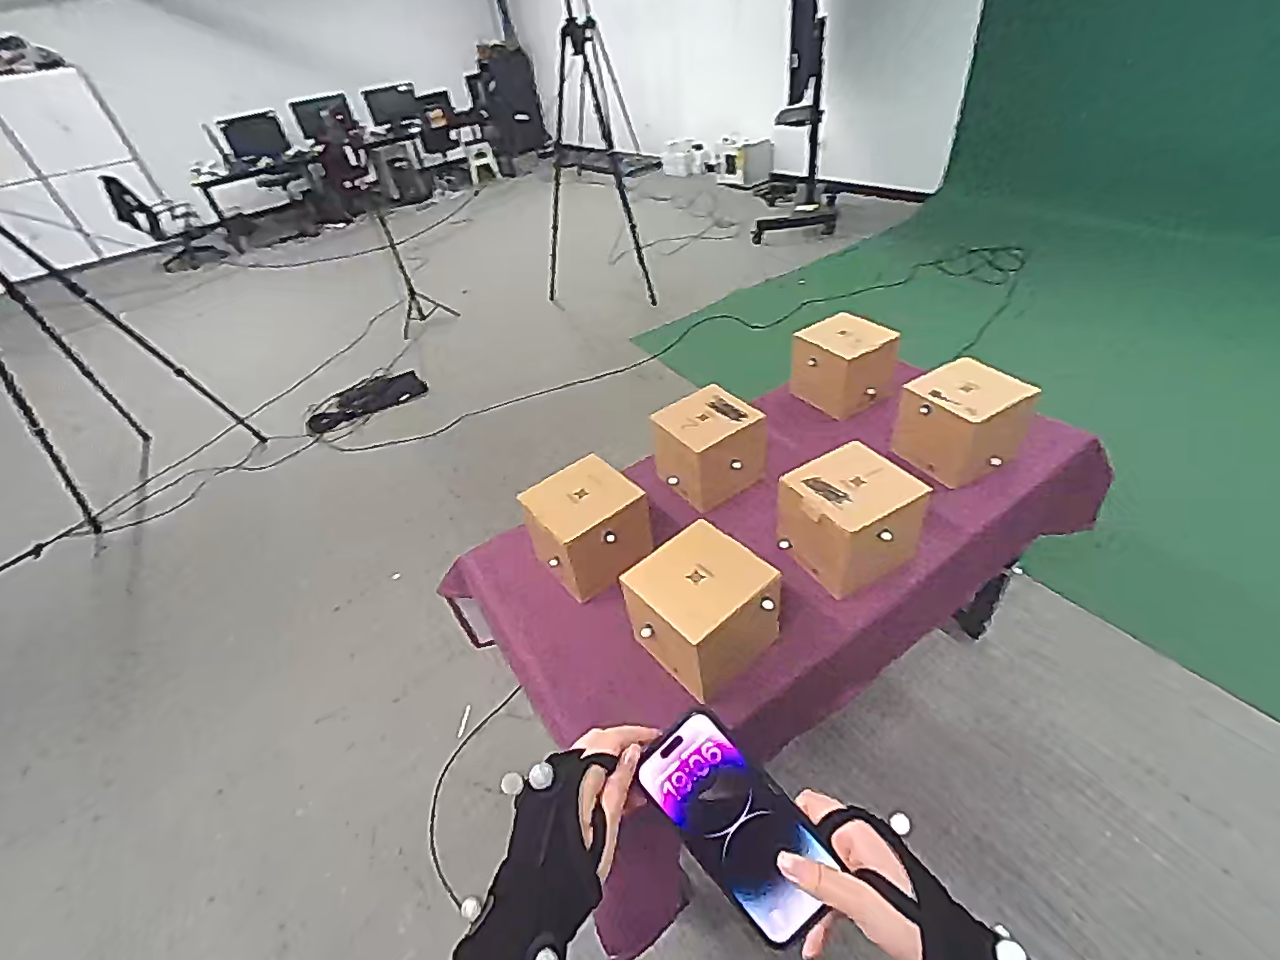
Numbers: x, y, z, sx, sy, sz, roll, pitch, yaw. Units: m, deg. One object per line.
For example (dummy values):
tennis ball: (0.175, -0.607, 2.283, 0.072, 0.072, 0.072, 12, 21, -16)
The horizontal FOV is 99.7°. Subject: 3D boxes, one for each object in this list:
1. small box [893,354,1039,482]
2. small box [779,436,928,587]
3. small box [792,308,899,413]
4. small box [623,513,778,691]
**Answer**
small box: (0.649, -0.127, 1.102, 0.179, 0.176, 0.168, -23, 43, -15)
small box: (0.364, 0.057, 0.951, 0.179, 0.176, 0.168, -24, 43, -17)
small box: (0.489, -0.291, 1.316, 0.168, 0.176, 0.179, -27, 45, -17)
small box: (0.099, 0.192, 0.853, 0.179, 0.176, 0.168, -32, 46, -25)
